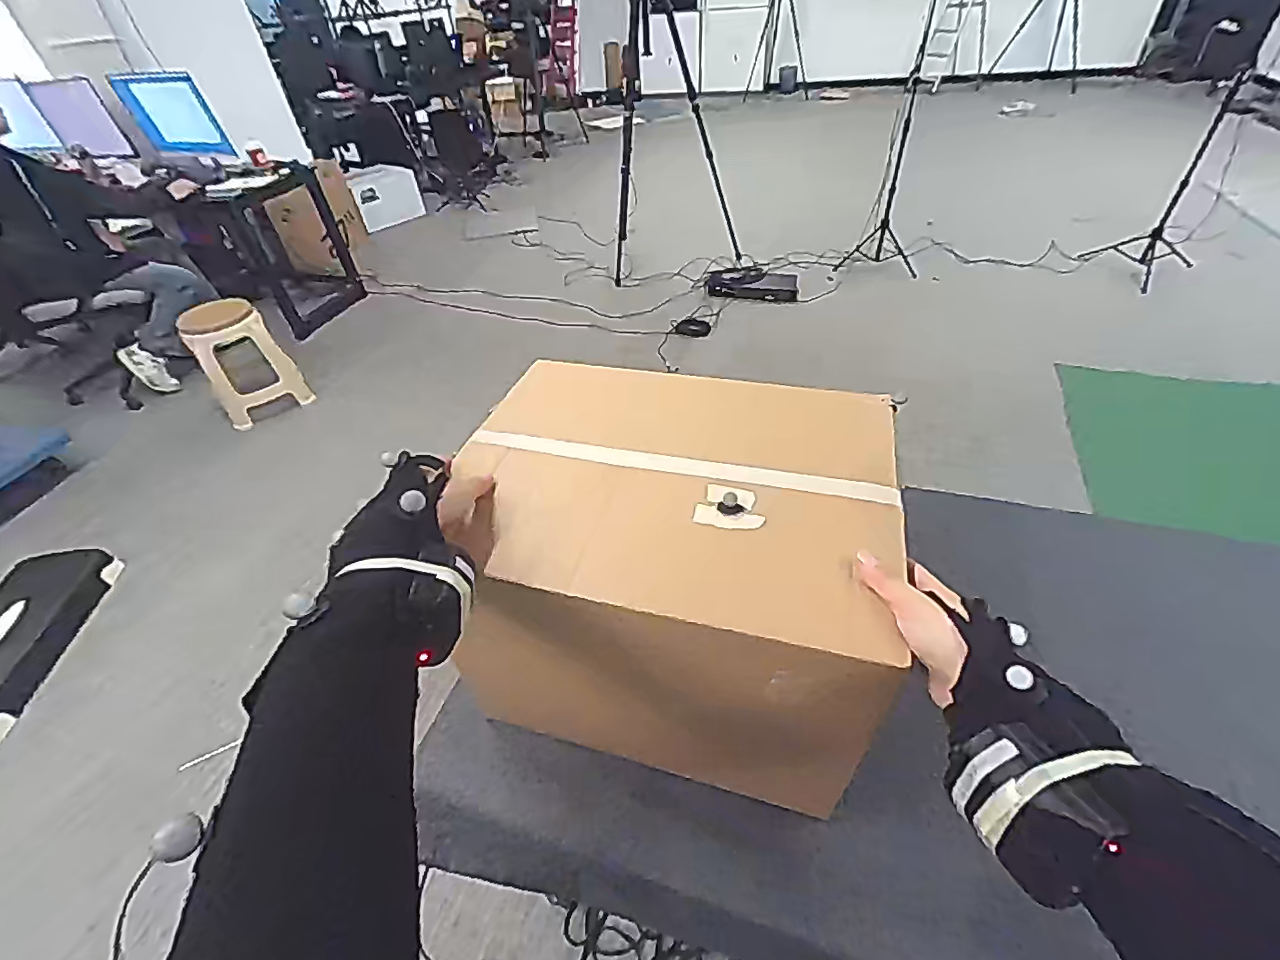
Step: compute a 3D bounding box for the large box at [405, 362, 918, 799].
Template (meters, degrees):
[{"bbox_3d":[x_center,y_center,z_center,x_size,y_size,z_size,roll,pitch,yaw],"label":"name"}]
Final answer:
[{"bbox_3d":[0.039,0.096,0.605,0.408,0.320,0.320,10,46,13],"label":"large box"}]
